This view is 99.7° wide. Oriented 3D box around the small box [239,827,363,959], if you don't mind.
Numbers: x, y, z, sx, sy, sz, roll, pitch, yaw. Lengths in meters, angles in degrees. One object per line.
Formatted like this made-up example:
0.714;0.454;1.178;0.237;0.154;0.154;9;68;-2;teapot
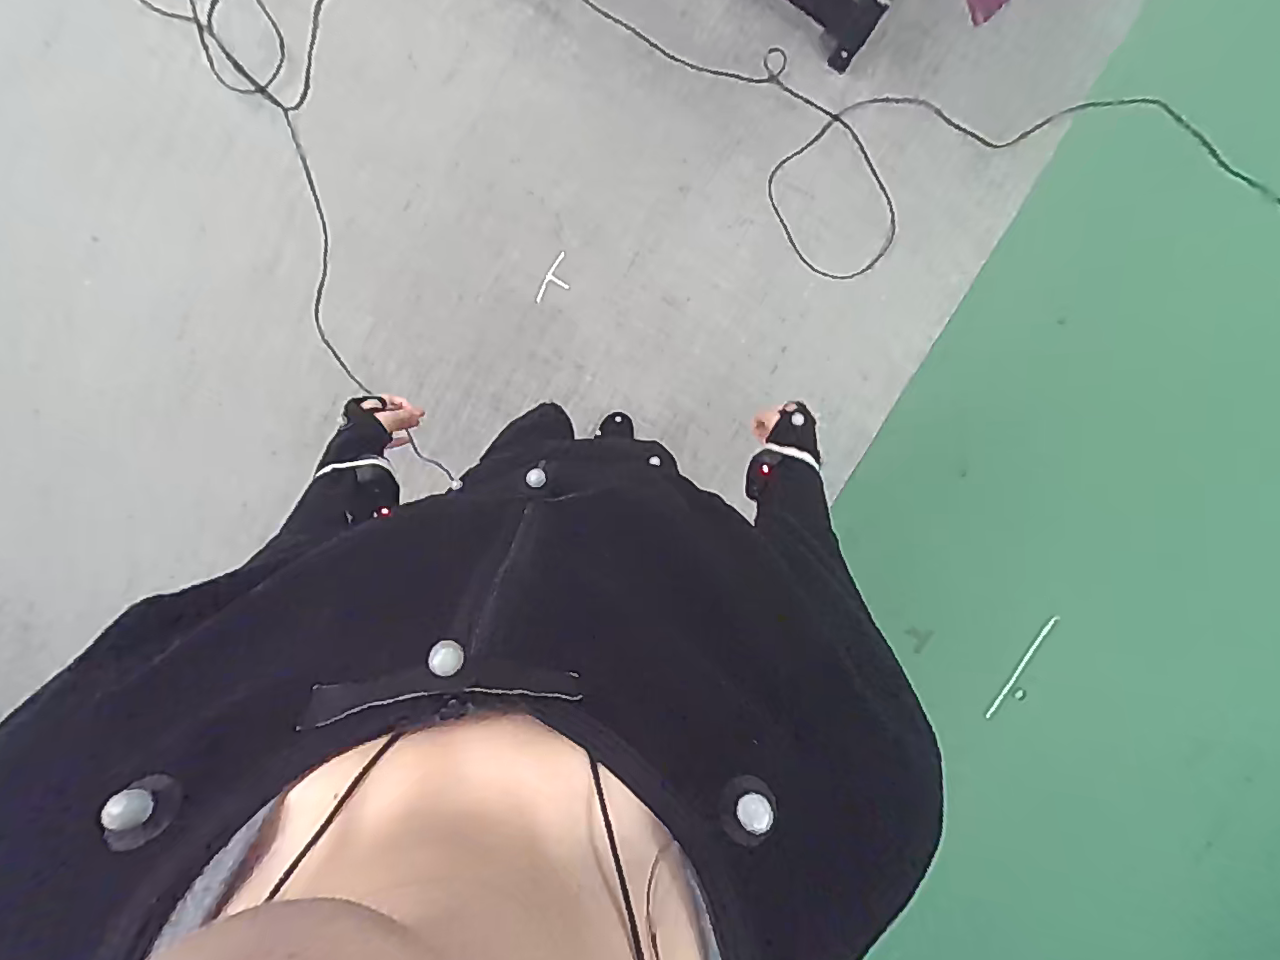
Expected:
-0.808;0.999;1.310;0.168;0.176;0.179;29;94;-8;small box
